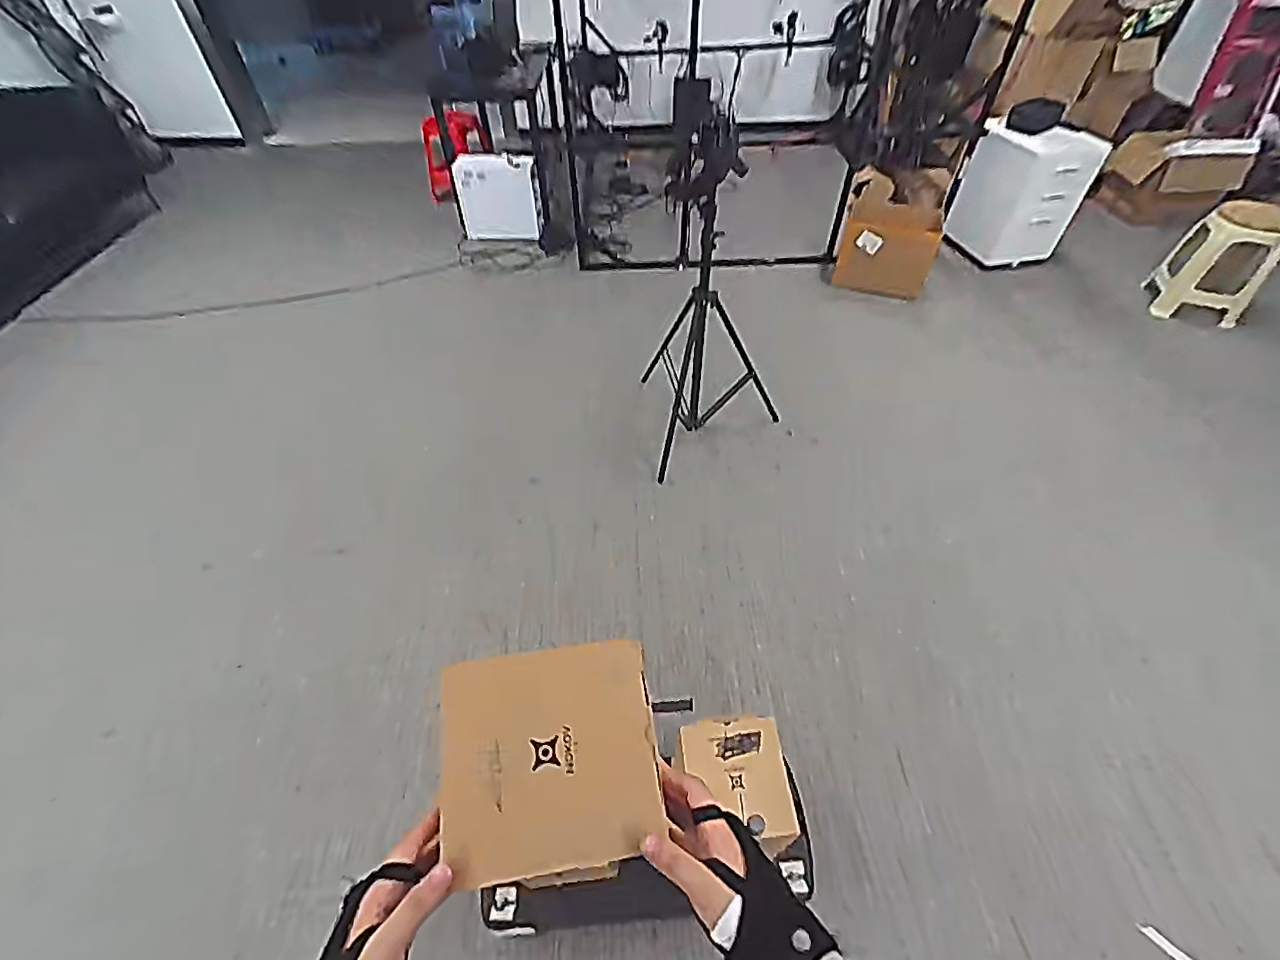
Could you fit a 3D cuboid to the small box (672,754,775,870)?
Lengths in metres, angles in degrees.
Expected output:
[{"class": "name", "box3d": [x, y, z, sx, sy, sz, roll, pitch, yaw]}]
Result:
[{"class": "small box", "box3d": [0.153, 0.648, 1.061, 0.168, 0.176, 0.179, -5, 48, -2]}]

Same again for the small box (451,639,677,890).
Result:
[{"class": "small box", "box3d": [-0.074, 0.264, 0.520, 0.179, 0.176, 0.168, -7, 61, -7]}]

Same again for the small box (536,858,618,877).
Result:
[{"class": "small box", "box3d": [-0.137, 0.668, 1.050, 0.179, 0.176, 0.168, -5, 48, -3]}]

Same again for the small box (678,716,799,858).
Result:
[{"class": "small box", "box3d": [0.158, 0.535, 0.942, 0.168, 0.176, 0.179, -5, 49, -2]}]
